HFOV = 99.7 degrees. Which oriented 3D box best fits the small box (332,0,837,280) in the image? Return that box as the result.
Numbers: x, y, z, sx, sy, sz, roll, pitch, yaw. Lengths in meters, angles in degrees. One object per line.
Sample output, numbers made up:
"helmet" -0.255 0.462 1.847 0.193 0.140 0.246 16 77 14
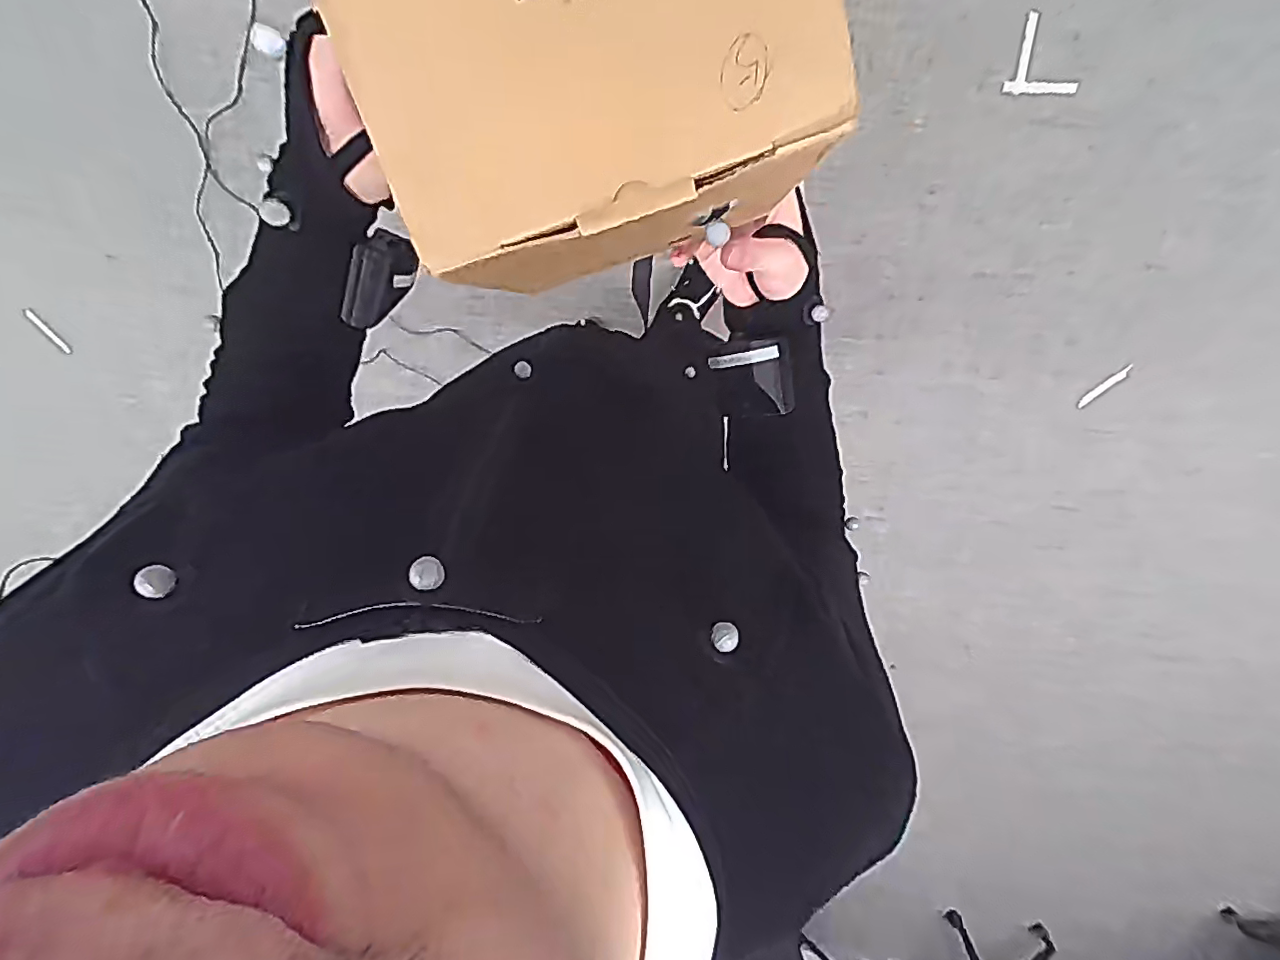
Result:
"small box" -0.027 -0.207 0.261 0.168 0.176 0.179 -17 104 5
